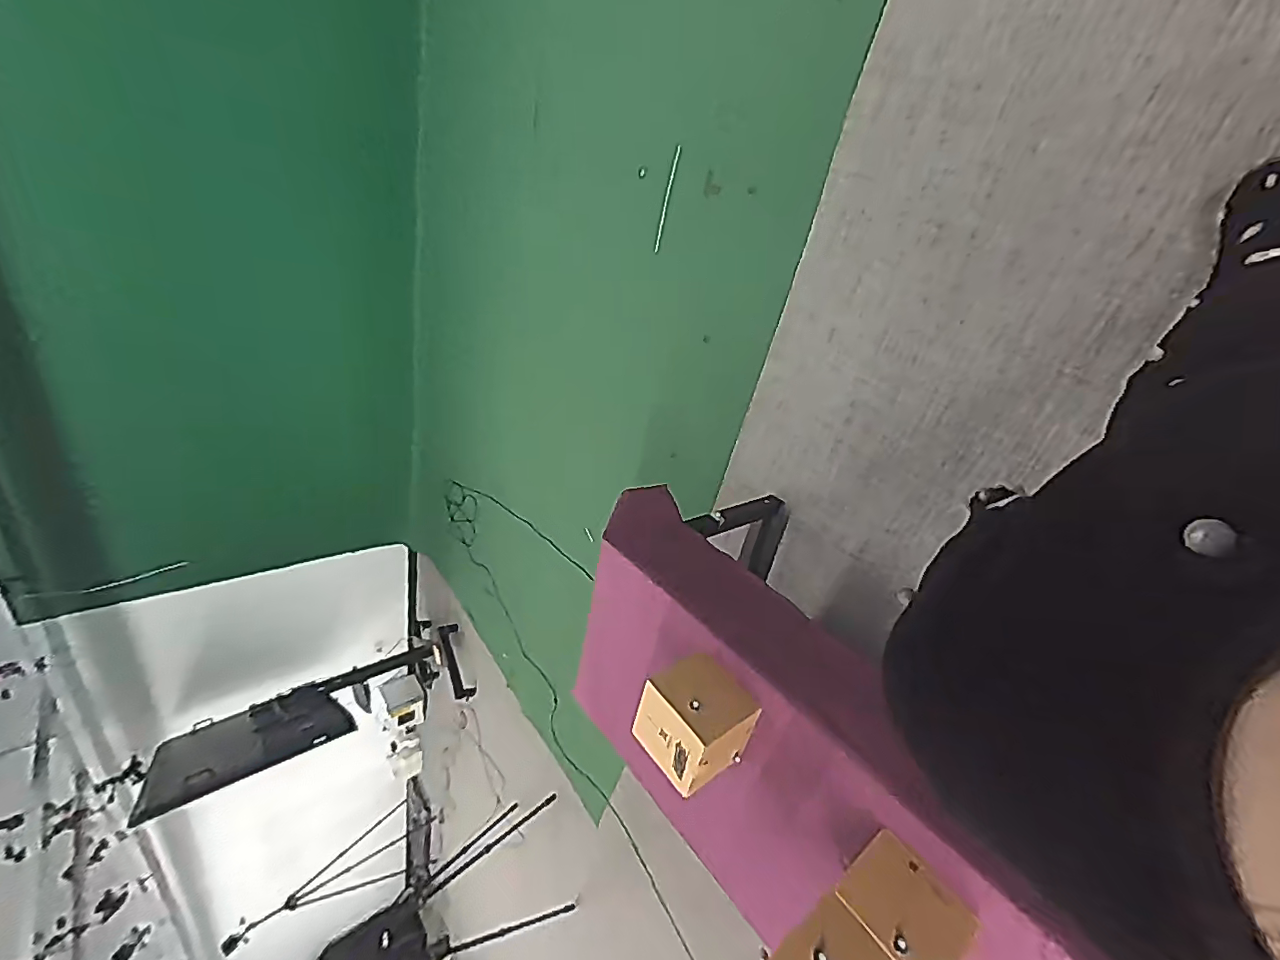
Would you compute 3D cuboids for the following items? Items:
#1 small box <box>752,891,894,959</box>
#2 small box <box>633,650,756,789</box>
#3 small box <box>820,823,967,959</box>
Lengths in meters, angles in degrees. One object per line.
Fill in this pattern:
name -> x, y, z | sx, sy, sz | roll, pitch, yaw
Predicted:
small box -> 0.257, 0.730, 0.761 | 0.179, 0.176, 0.168 | 40, 128, 37
small box -> 0.114, 0.490, 1.132 | 0.179, 0.176, 0.168 | 39, 127, 39
small box -> 0.382, 0.704, 0.863 | 0.168, 0.176, 0.179 | 39, 128, 37
